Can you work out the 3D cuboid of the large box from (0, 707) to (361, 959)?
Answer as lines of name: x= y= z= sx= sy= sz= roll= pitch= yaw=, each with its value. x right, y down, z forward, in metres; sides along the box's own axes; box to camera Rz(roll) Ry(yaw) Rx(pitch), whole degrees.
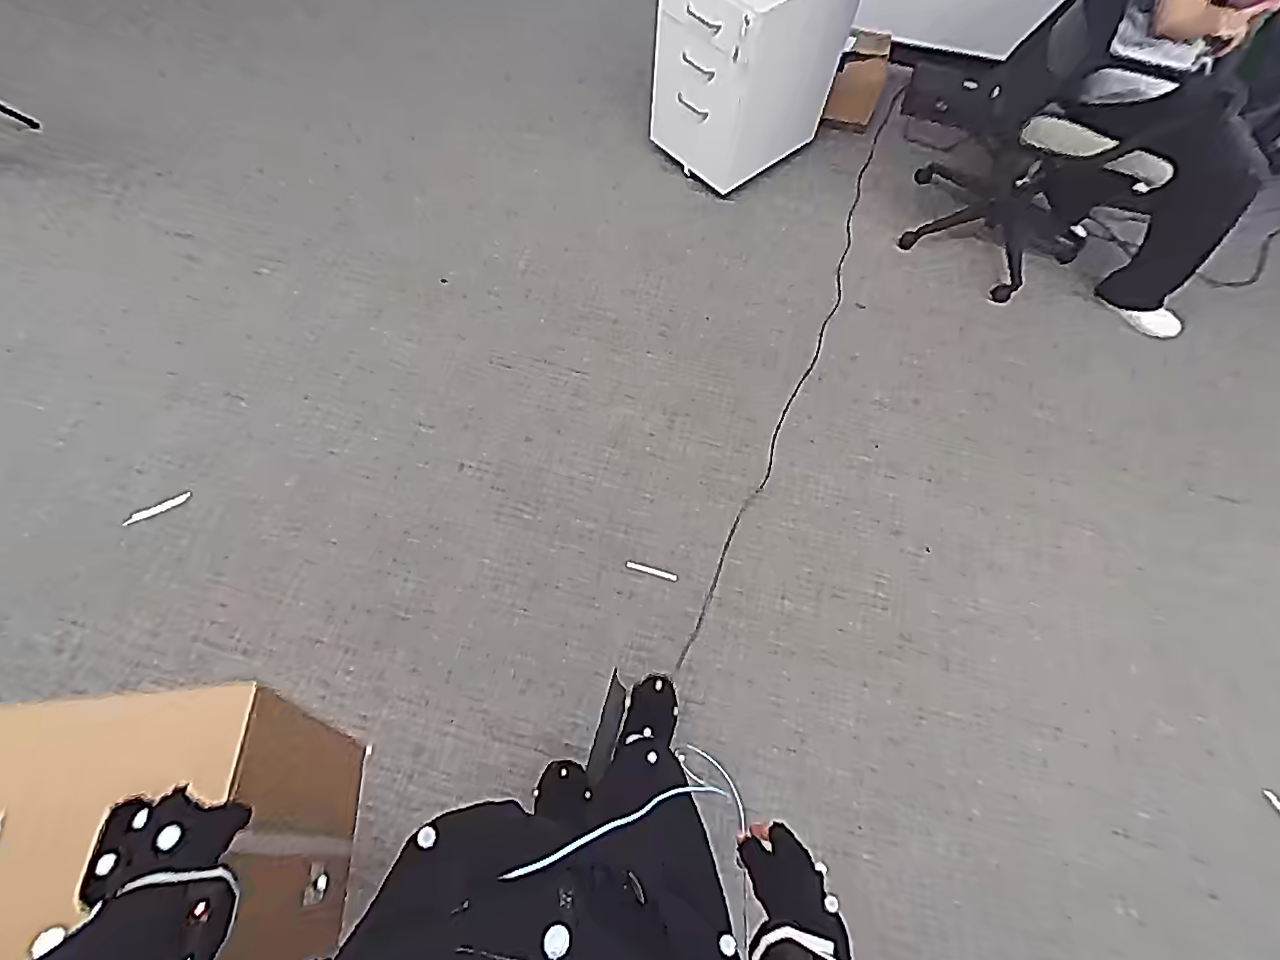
large box: x=-0.597 y=0.513 z=0.686 sx=0.320 sy=0.408 sz=0.320 roll=-3 pitch=54 yaw=-10
